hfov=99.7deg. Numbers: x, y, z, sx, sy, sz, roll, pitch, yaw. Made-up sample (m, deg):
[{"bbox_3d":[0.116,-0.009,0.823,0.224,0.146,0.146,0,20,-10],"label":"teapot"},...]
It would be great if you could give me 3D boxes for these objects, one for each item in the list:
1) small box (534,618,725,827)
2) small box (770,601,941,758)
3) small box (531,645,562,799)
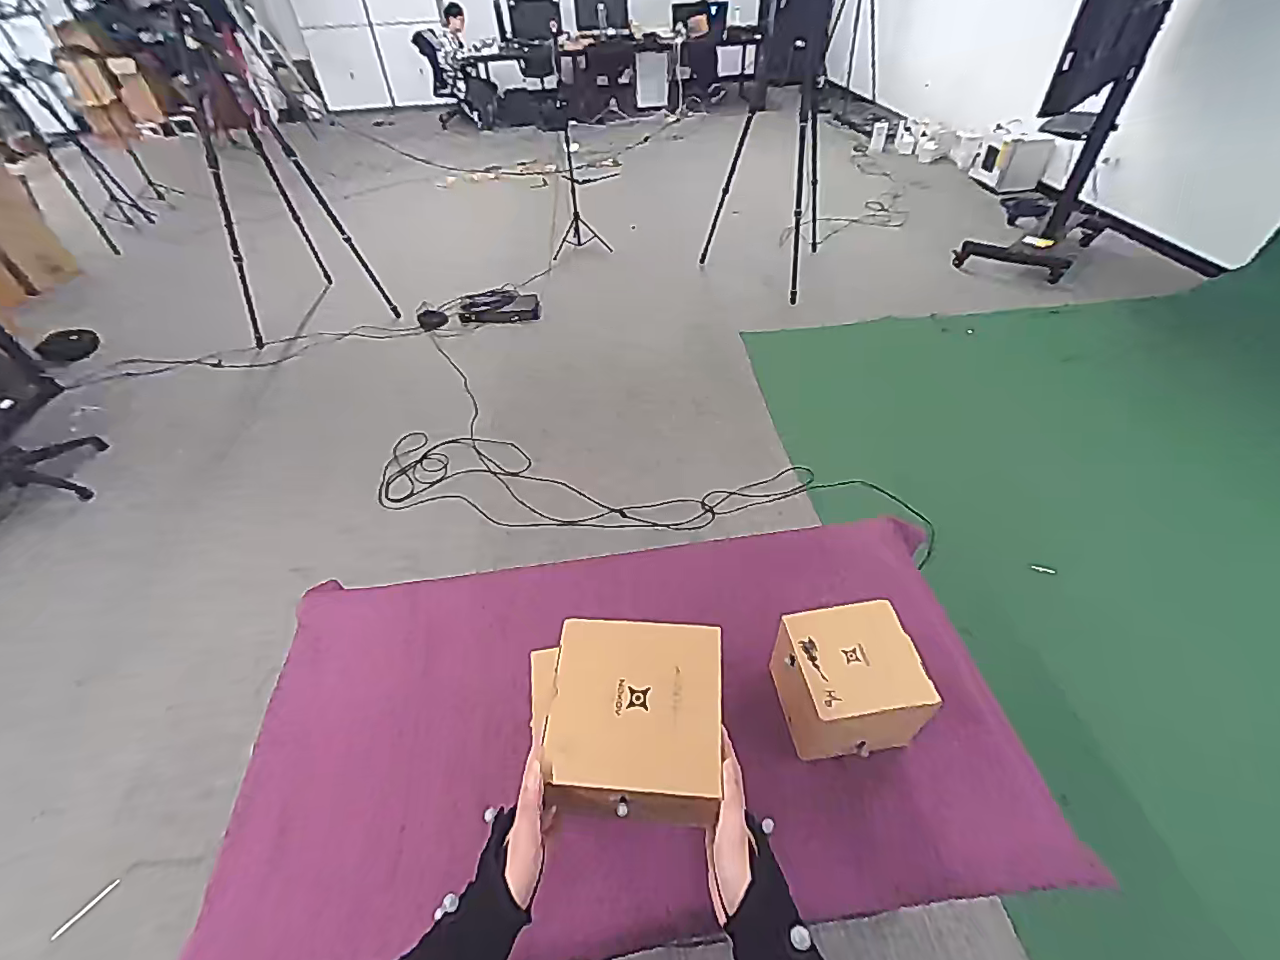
[{"bbox_3d":[0.001,0.269,0.596,0.179,0.176,0.168,3,50,6],"label":"small box"},{"bbox_3d":[0.320,0.312,0.843,0.179,0.176,0.168,-7,45,-4],"label":"small box"},{"bbox_3d":[-0.067,0.361,0.813,0.168,0.176,0.179,-8,45,-5],"label":"small box"}]
